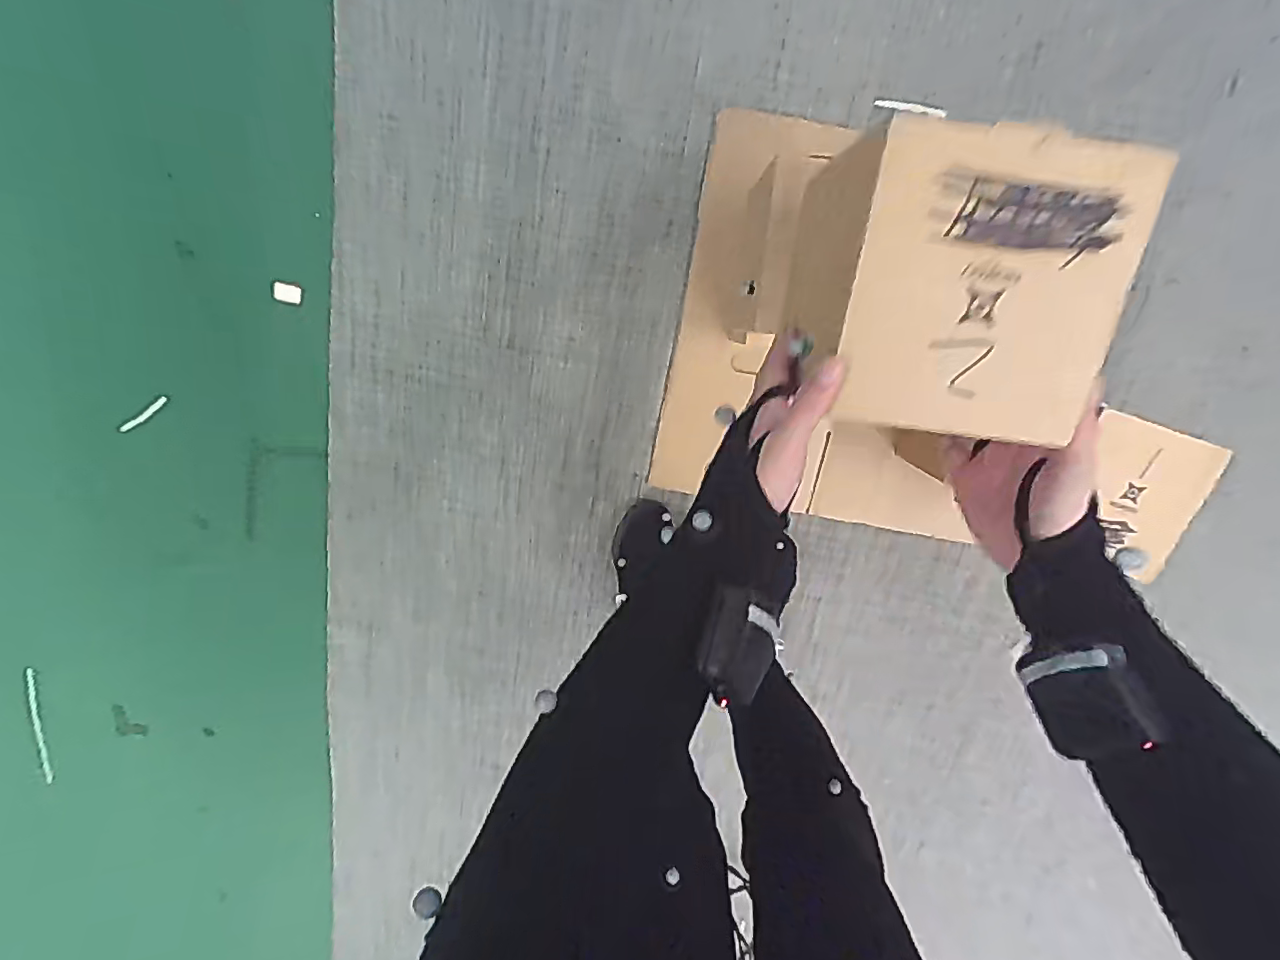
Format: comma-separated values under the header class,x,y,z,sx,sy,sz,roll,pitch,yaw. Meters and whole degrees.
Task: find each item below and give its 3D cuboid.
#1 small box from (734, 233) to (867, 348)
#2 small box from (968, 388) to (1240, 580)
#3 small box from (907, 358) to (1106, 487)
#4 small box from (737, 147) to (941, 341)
class,x,y,z,sx,sy,sz,roll,pitch,yaw
small box,0.236,-0.290,0.795,0.168,0.176,0.179,4,106,1
small box,0.562,-0.005,0.691,0.168,0.176,0.179,18,105,-3
small box,0.546,-0.082,0.840,0.168,0.176,0.179,15,106,-1
small box,0.212,-0.261,0.632,0.168,0.176,0.179,4,106,0
